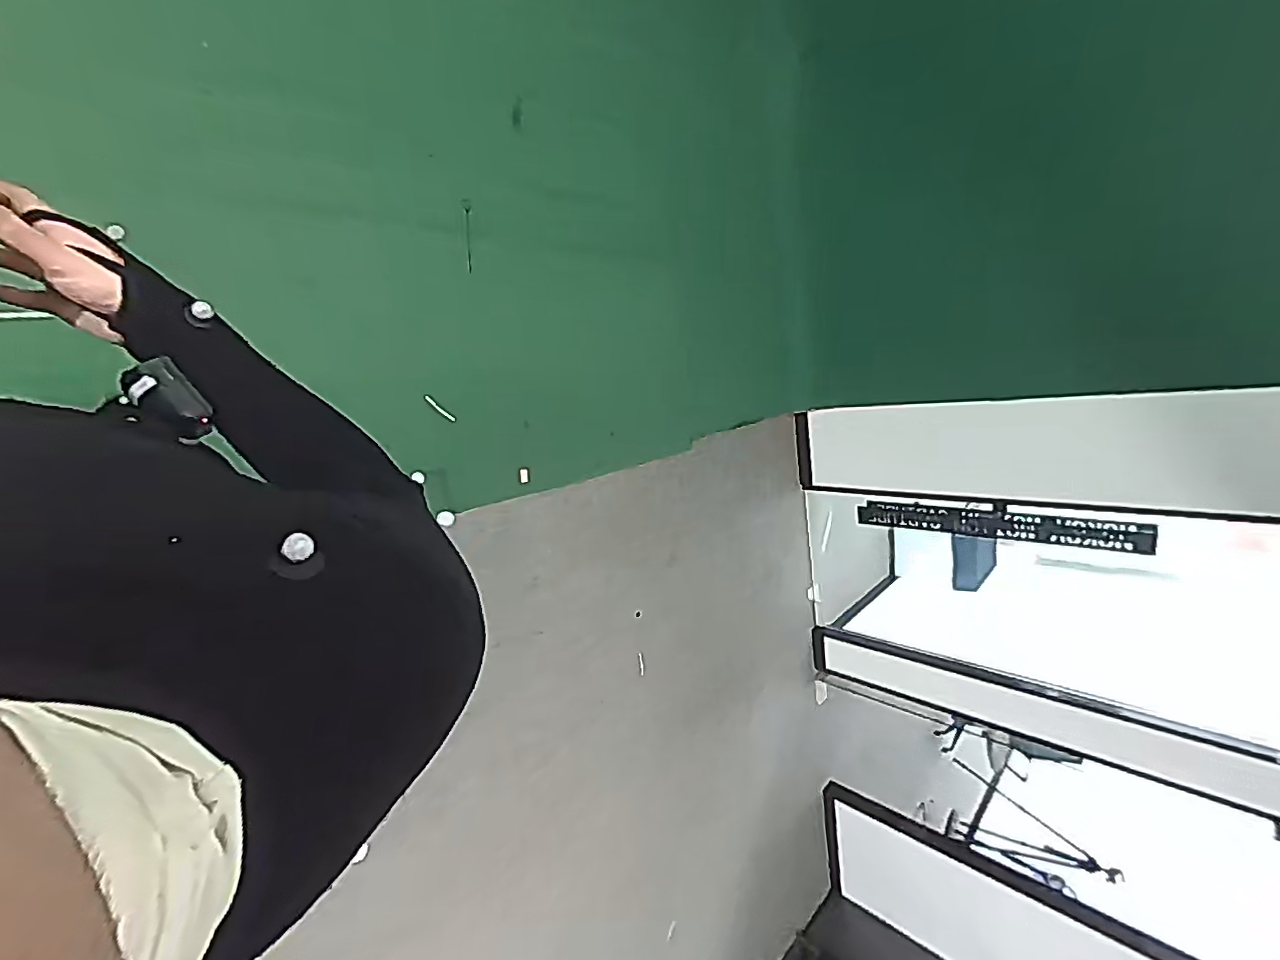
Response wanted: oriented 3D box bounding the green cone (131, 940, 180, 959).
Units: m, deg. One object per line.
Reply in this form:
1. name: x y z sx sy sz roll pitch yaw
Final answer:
1. green cone: -1.100 1.249 1.160 0.202 0.368 0.200 -16 104 -41
